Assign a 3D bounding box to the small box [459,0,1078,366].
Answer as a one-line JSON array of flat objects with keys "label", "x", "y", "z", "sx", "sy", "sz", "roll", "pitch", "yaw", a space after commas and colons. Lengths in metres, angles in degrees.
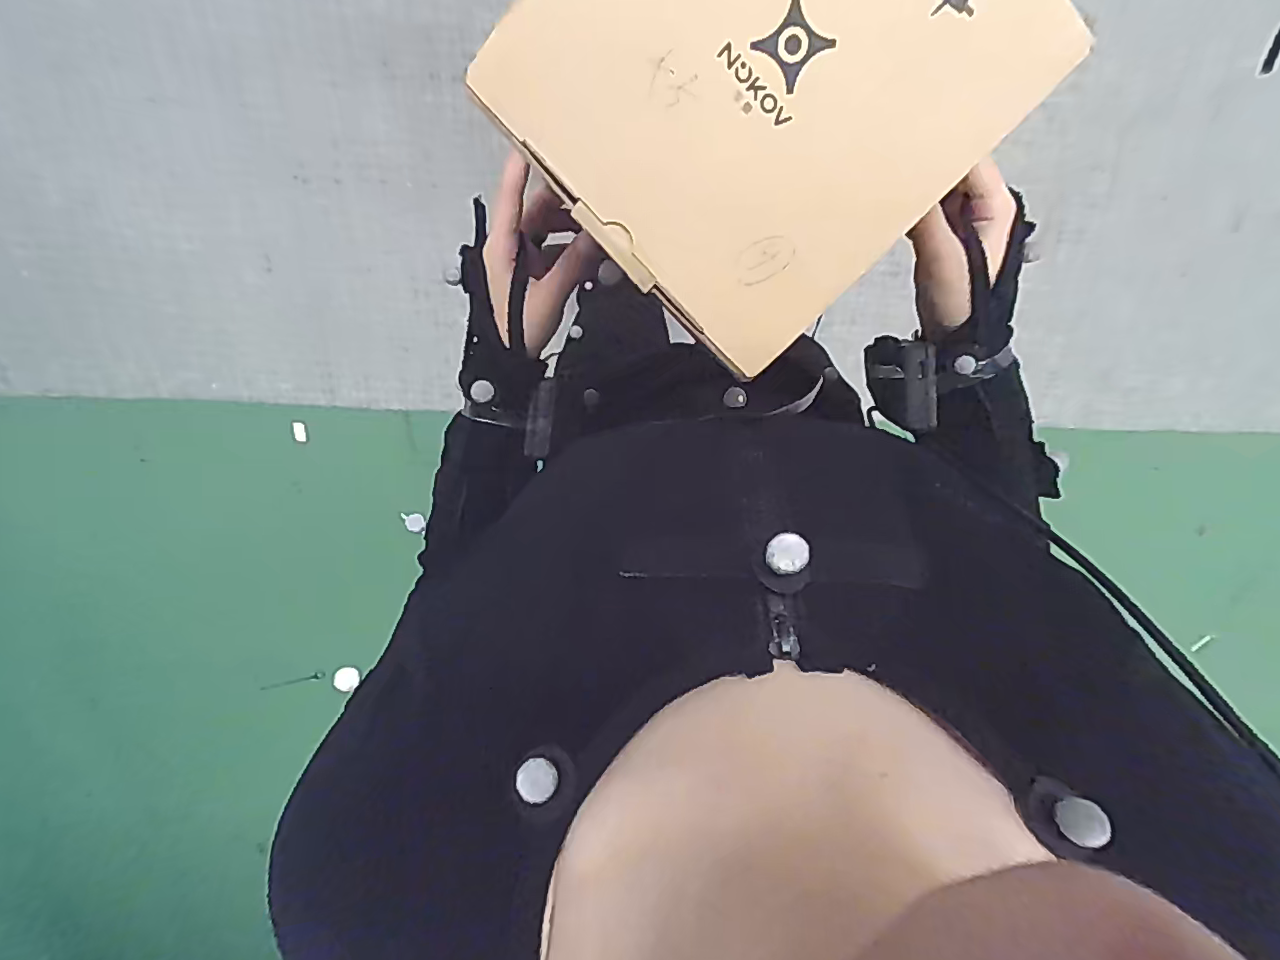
[{"label": "small box", "x": 0.049, "y": -0.184, "z": 0.279, "sx": 0.168, "sy": 0.176, "sz": 0.179, "roll": 44, "pitch": 105, "yaw": -11}]
